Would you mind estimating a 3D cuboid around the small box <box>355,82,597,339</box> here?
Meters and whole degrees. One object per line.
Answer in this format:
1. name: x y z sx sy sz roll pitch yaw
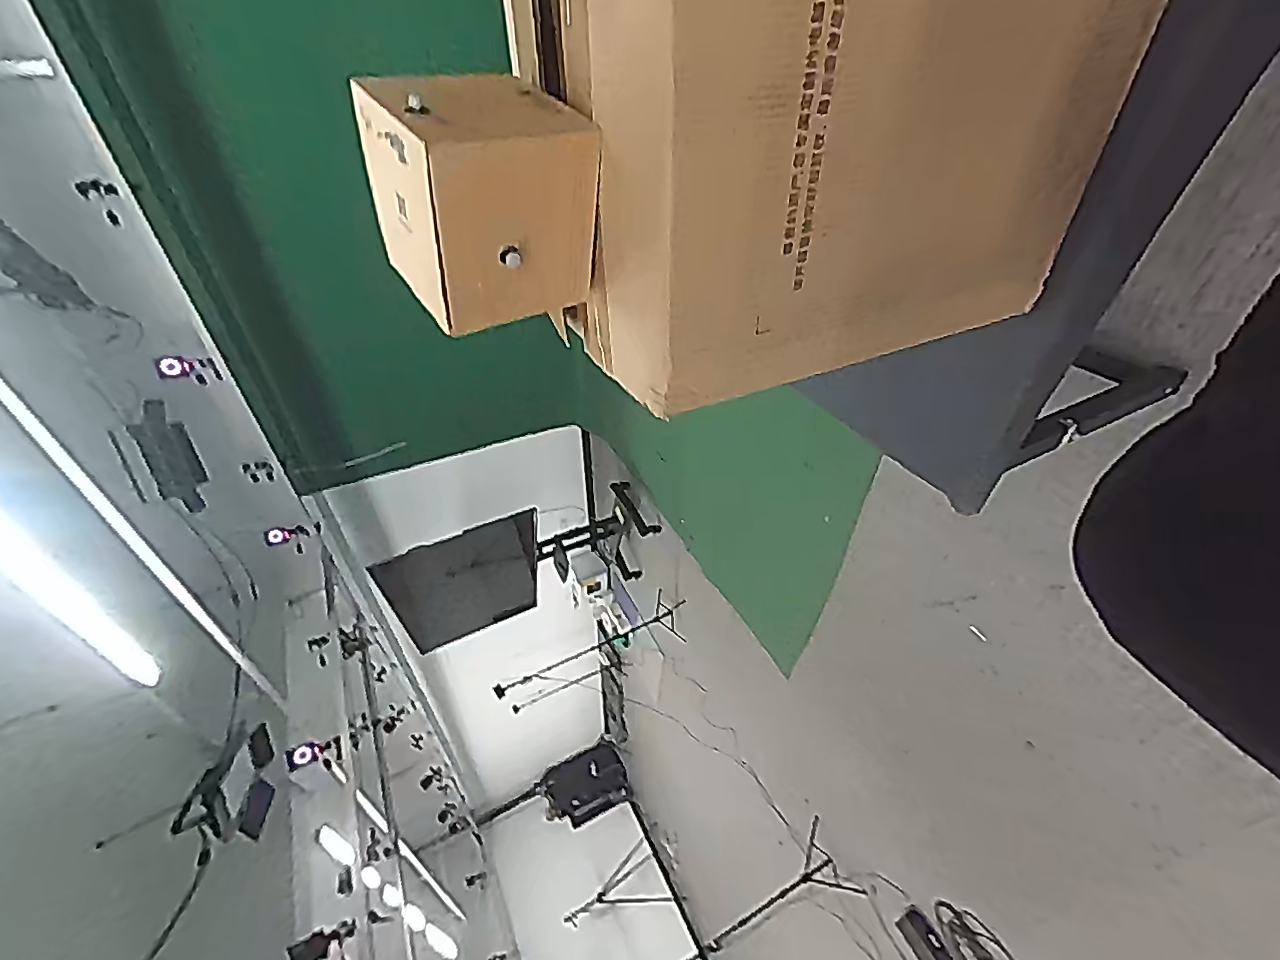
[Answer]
1. small box: -0.158 -0.282 0.559 0.168 0.176 0.179 46 148 27
